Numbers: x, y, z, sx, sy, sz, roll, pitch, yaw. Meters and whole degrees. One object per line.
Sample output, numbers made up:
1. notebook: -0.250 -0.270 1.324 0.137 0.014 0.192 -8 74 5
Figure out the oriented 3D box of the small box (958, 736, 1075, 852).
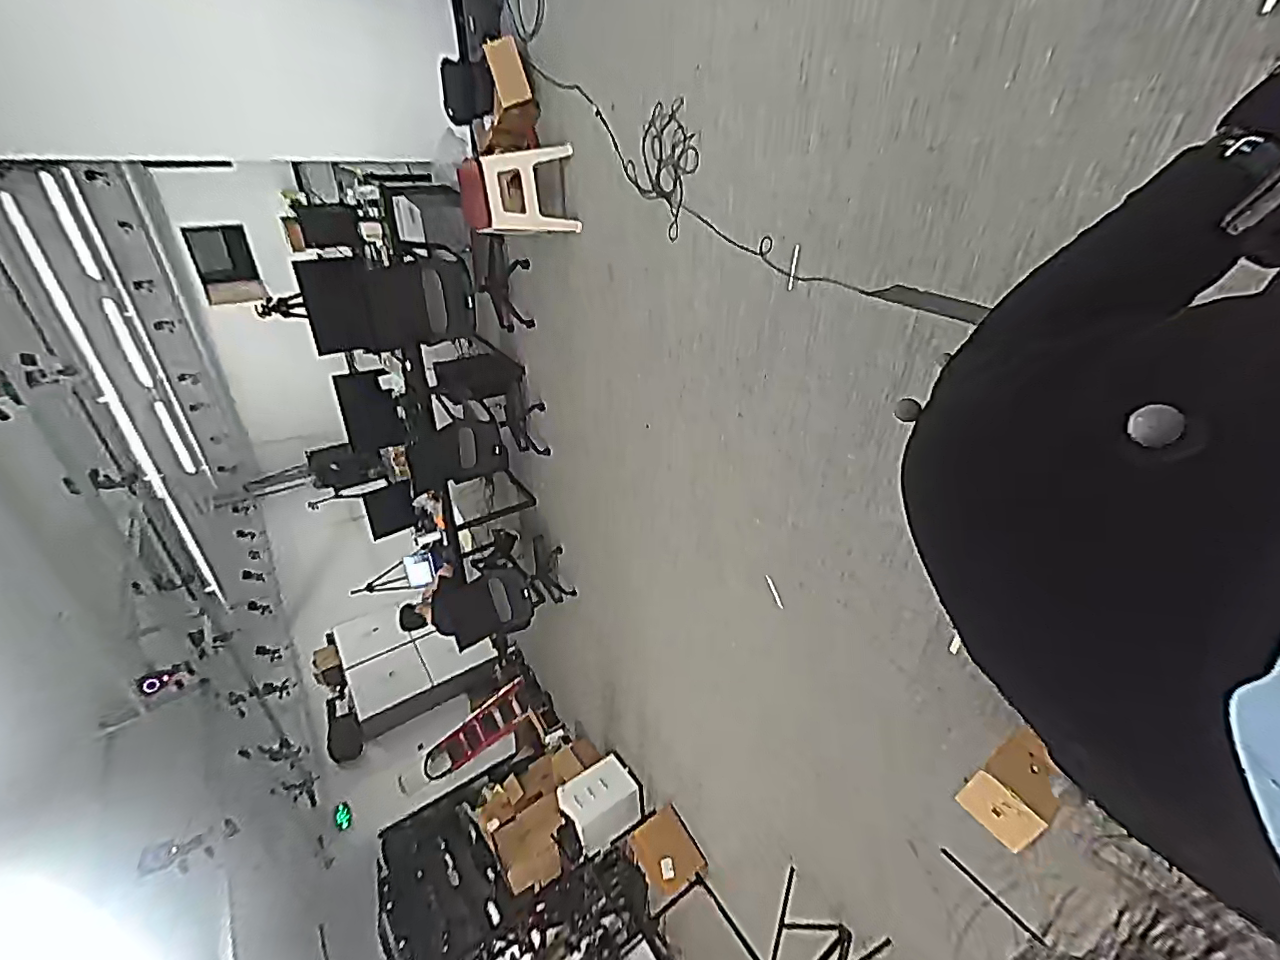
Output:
1. small box: 0.988 0.818 1.419 0.168 0.176 0.179 41 139 39
